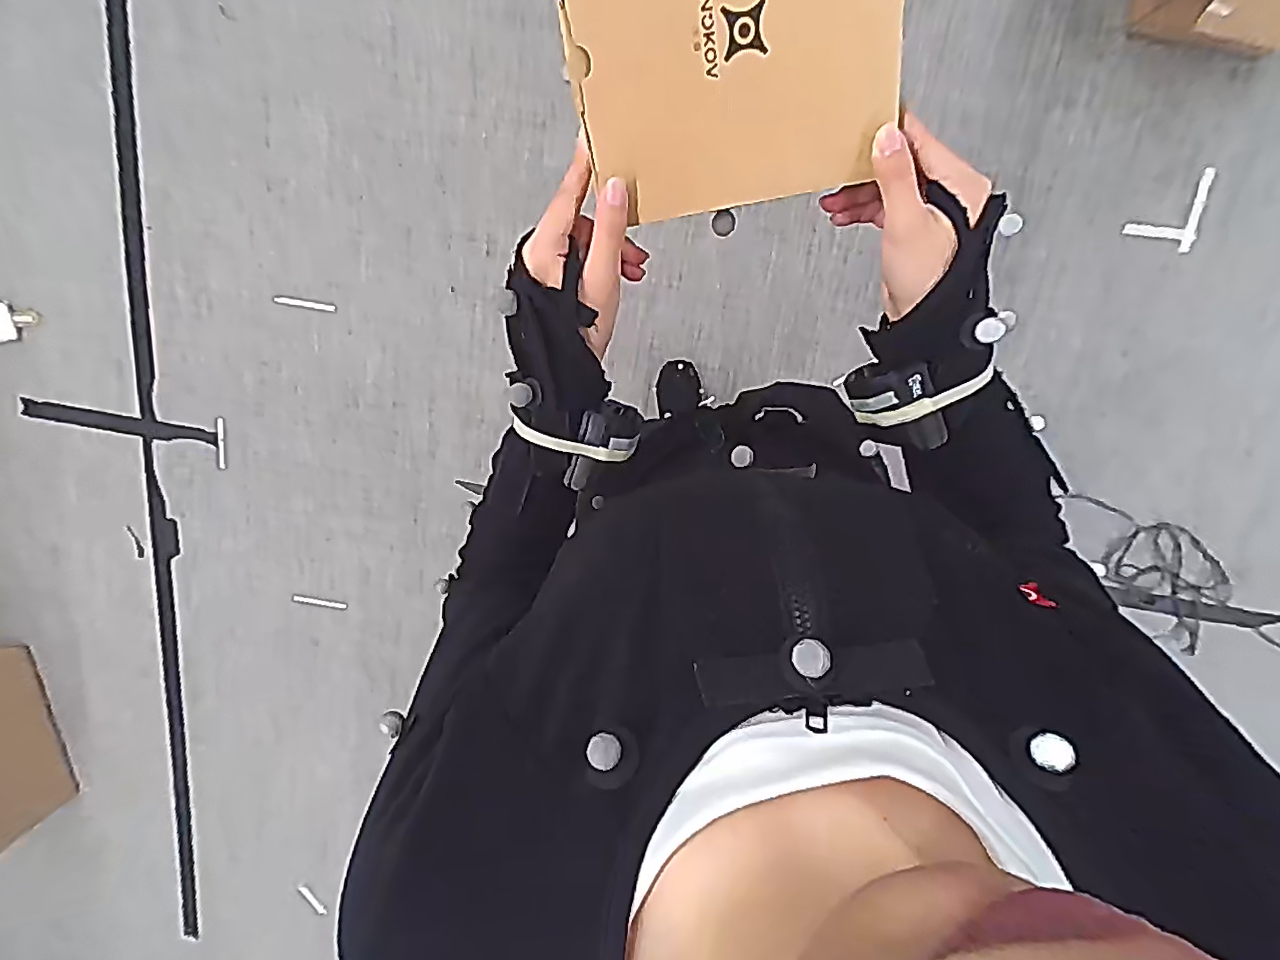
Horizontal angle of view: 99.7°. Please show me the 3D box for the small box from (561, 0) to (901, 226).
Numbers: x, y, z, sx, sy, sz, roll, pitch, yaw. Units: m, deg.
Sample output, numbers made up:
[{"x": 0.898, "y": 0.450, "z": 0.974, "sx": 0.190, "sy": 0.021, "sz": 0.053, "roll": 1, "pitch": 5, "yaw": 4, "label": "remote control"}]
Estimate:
[{"x": 0.046, "y": -0.273, "z": 0.350, "sx": 0.179, "sy": 0.176, "sz": 0.168, "roll": -9, "pitch": 118, "yaw": 3, "label": "small box"}]
